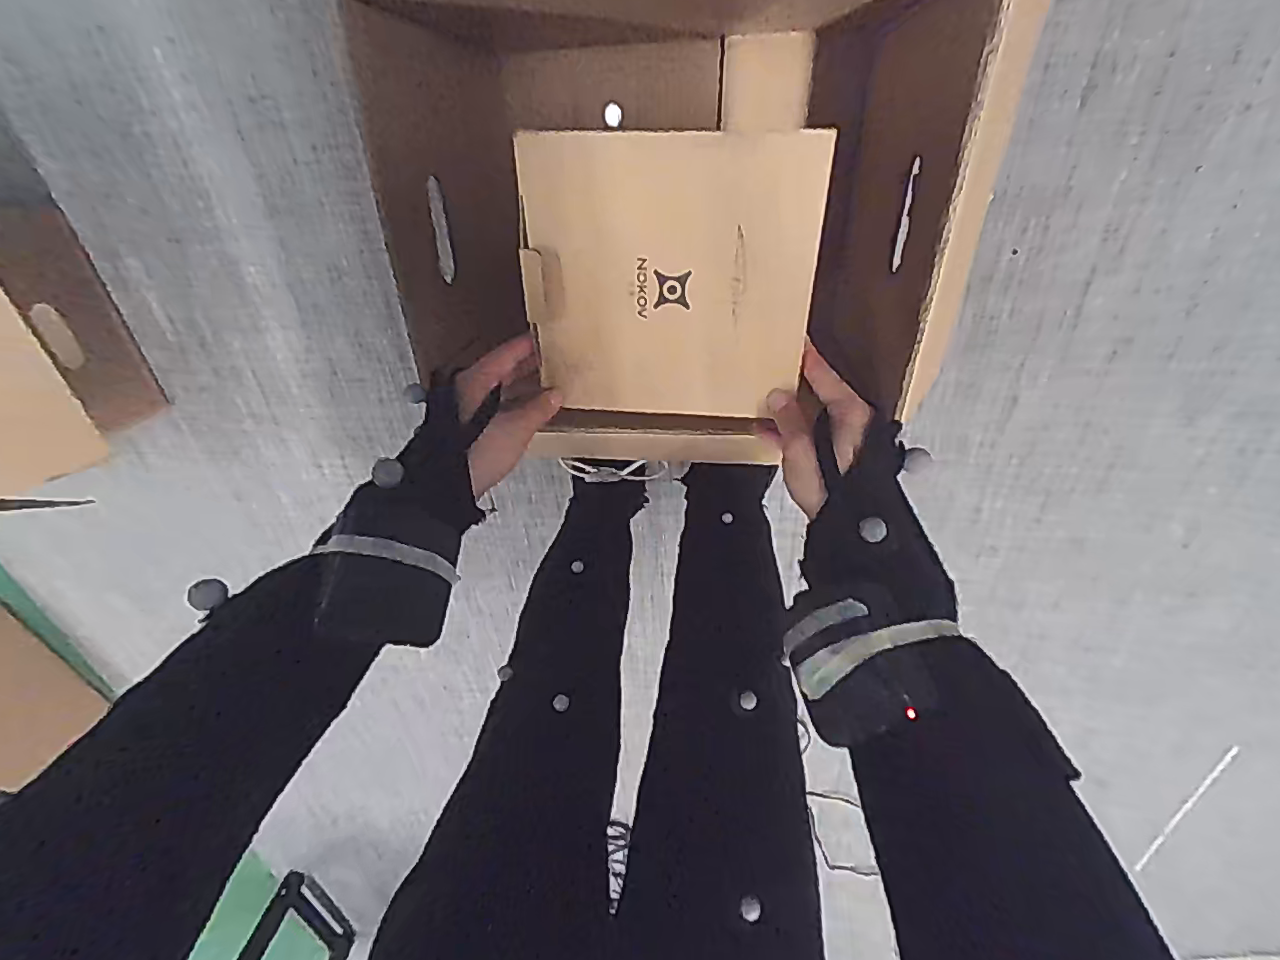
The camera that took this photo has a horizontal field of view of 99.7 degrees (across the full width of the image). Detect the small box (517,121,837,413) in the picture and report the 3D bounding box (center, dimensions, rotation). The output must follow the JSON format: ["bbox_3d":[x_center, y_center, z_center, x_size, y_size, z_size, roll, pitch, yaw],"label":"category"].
[{"bbox_3d":[0.028,-0.162,0.398,0.179,0.176,0.168,3,122,6],"label":"small box"}]
